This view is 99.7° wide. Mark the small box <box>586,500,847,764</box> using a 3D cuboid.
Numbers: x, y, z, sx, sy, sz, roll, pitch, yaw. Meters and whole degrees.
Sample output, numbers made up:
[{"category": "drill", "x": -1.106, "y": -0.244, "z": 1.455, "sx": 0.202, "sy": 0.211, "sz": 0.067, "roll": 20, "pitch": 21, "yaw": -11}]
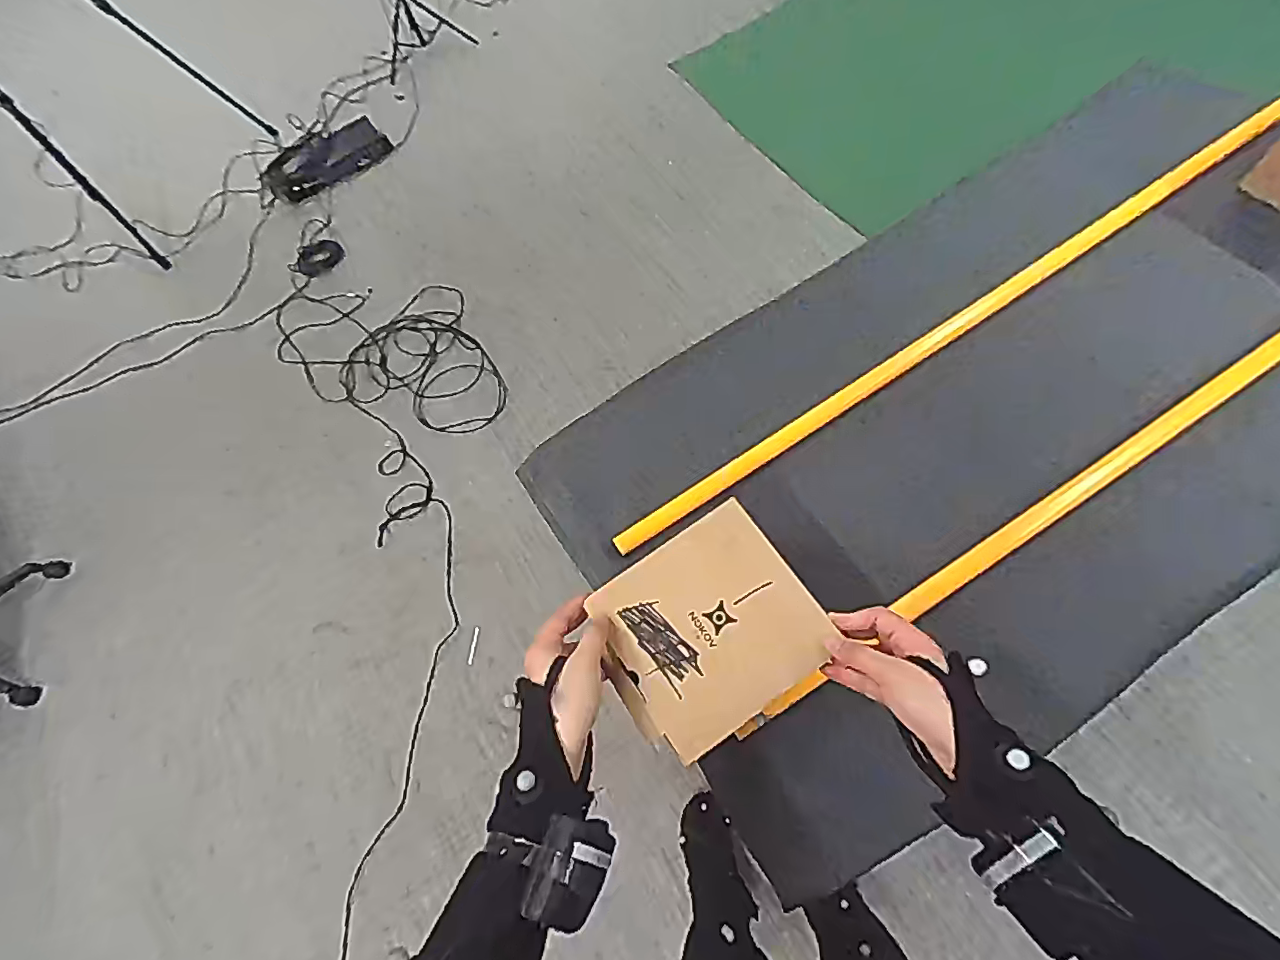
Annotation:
[{"category": "small box", "x": 0.073, "y": 0.153, "z": 0.553, "sx": 0.179, "sy": 0.176, "sz": 0.168, "roll": -34, "pitch": 71, "yaw": -7}]
